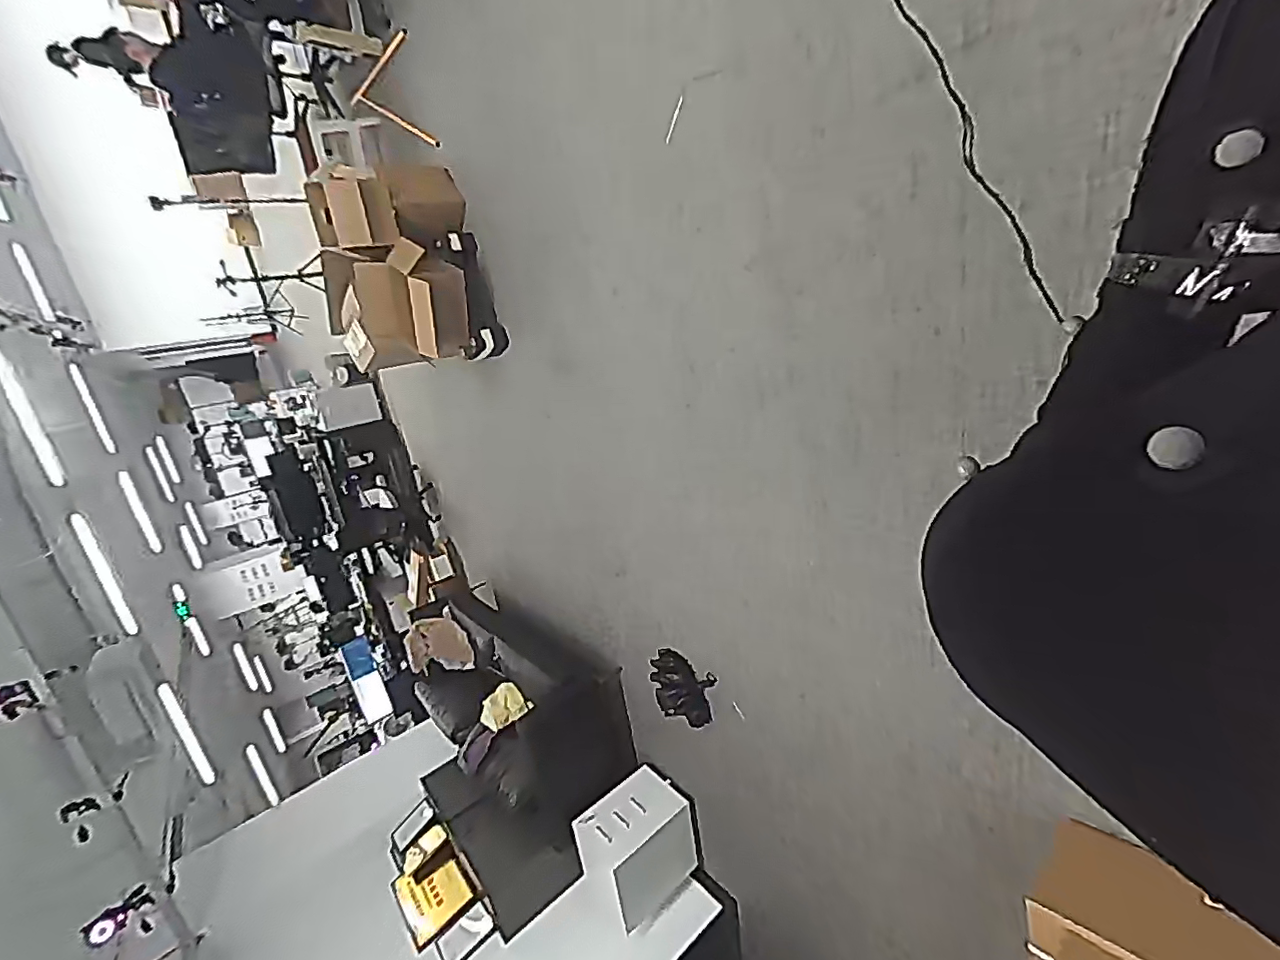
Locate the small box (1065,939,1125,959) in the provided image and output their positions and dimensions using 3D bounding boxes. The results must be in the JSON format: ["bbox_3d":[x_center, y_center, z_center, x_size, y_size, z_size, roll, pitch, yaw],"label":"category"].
[{"bbox_3d":[1.010,1.143,1.154,0.179,0.176,0.168,8,113,51],"label":"small box"}]
